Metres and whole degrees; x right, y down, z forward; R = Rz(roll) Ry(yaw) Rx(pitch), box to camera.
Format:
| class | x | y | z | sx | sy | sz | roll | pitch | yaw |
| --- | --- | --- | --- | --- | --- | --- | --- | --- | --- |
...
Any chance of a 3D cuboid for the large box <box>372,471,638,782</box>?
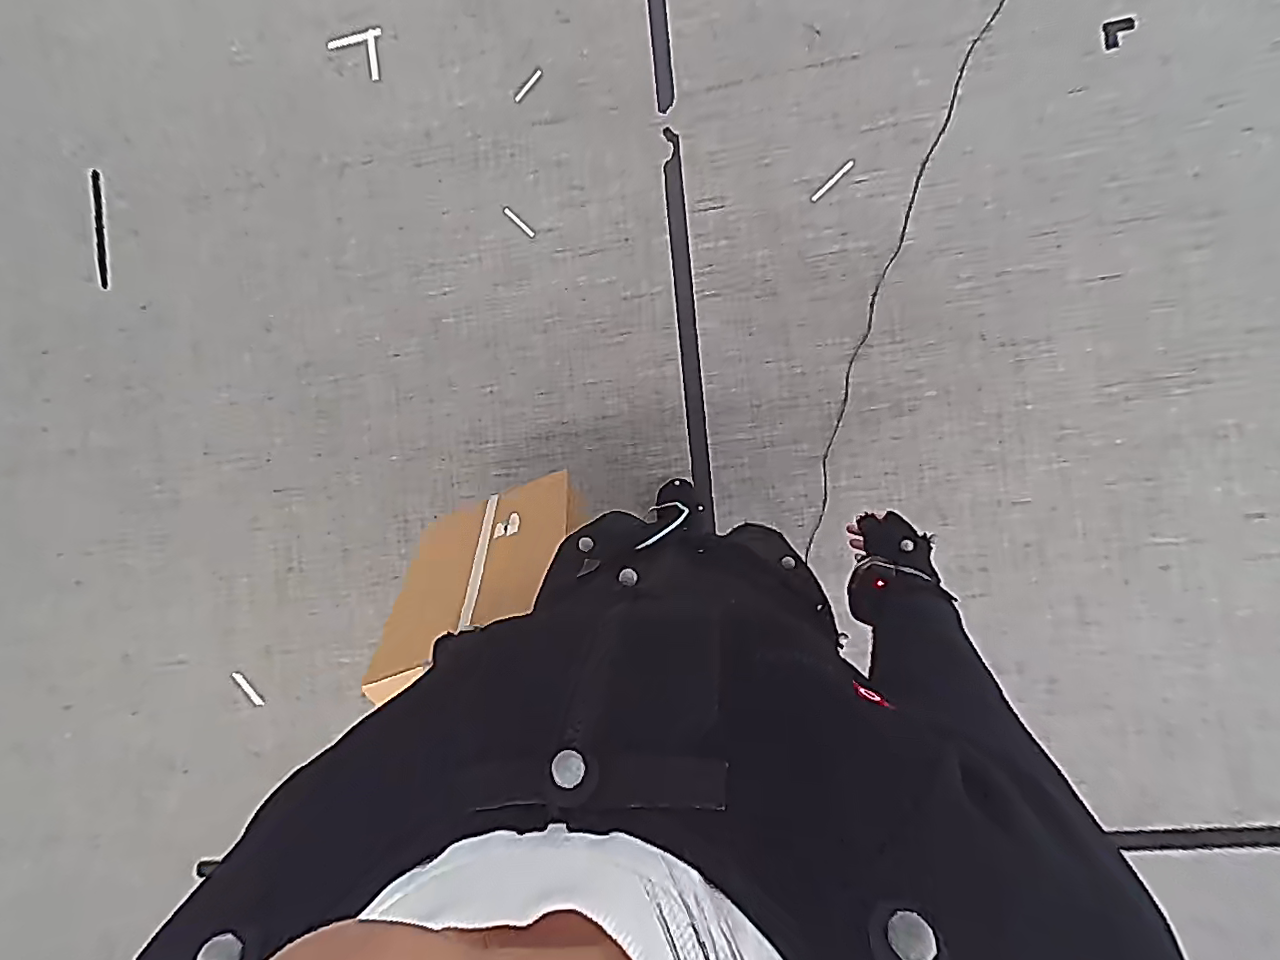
| class | x | y | z | sx | sy | sz | roll | pitch | yaw |
| --- | --- | --- | --- | --- | --- | --- | --- | --- | --- |
| large box | -0.213 | 0.250 | 0.997 | 0.320 | 0.408 | 0.320 | -19 | 121 | 5 |
